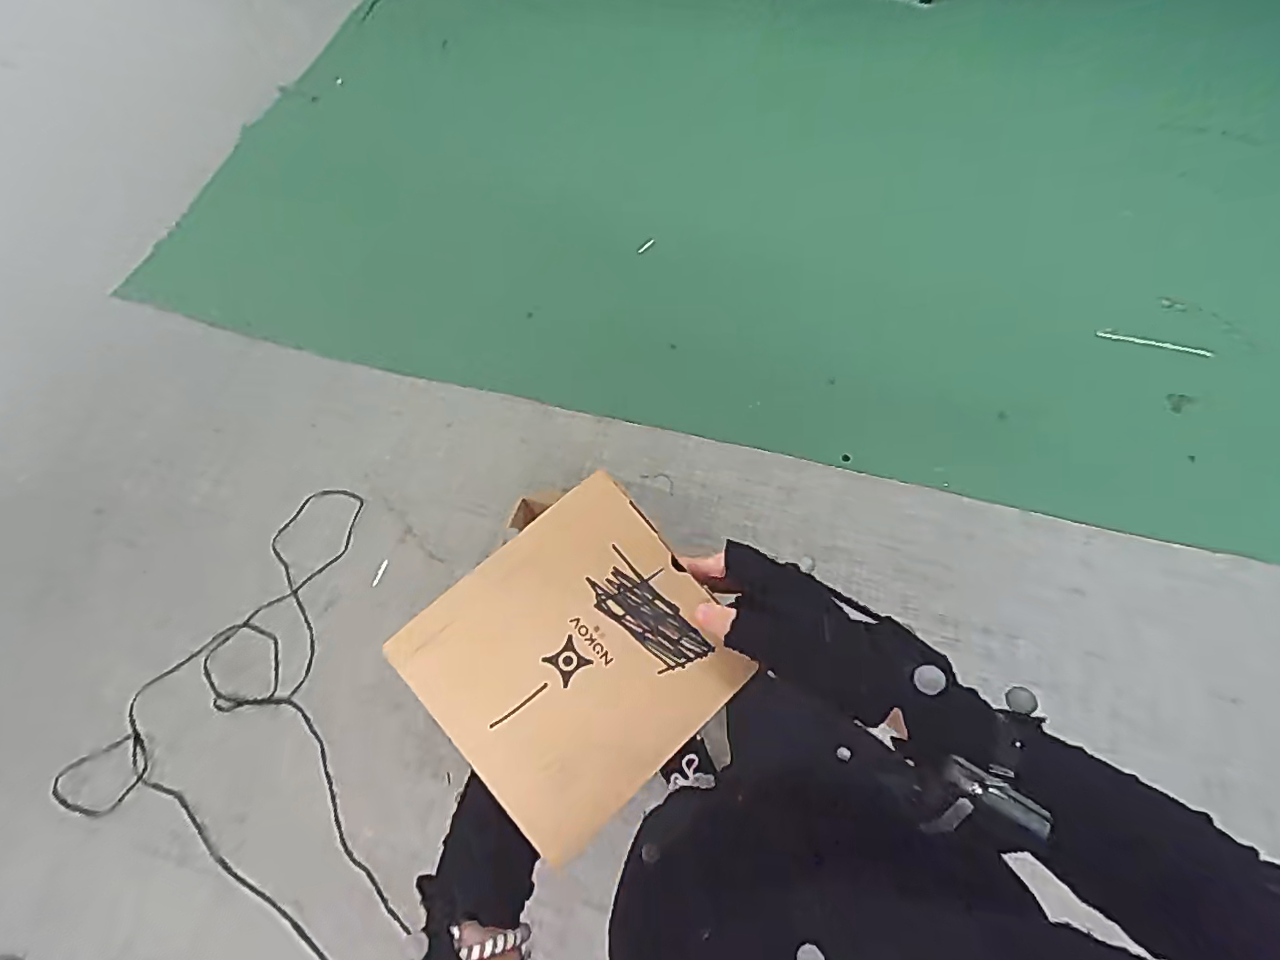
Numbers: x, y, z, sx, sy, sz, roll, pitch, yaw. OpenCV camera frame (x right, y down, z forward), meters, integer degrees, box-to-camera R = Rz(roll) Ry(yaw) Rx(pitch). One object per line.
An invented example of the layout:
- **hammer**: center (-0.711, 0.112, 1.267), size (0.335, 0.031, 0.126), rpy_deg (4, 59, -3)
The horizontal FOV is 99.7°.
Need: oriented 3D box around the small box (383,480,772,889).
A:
- **small box**: center (-0.042, 0.127, 0.397), size (0.179, 0.176, 0.168), rpy_deg (-39, 84, -12)
